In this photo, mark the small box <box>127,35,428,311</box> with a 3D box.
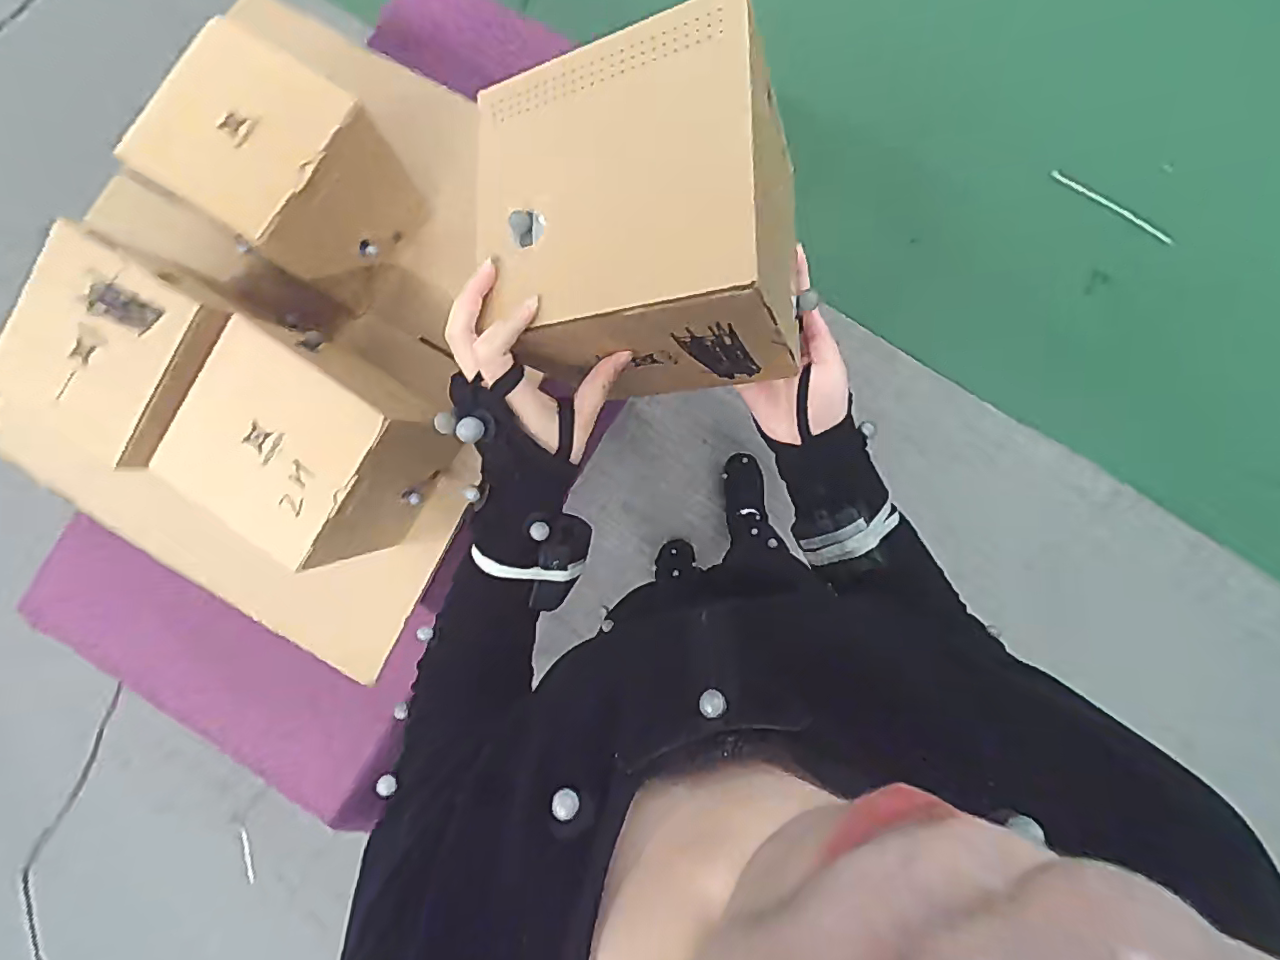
[{"bbox_3d":[-0.376,-0.317,0.596,0.179,0.176,0.168,31,86,5],"label":"small box"}]
